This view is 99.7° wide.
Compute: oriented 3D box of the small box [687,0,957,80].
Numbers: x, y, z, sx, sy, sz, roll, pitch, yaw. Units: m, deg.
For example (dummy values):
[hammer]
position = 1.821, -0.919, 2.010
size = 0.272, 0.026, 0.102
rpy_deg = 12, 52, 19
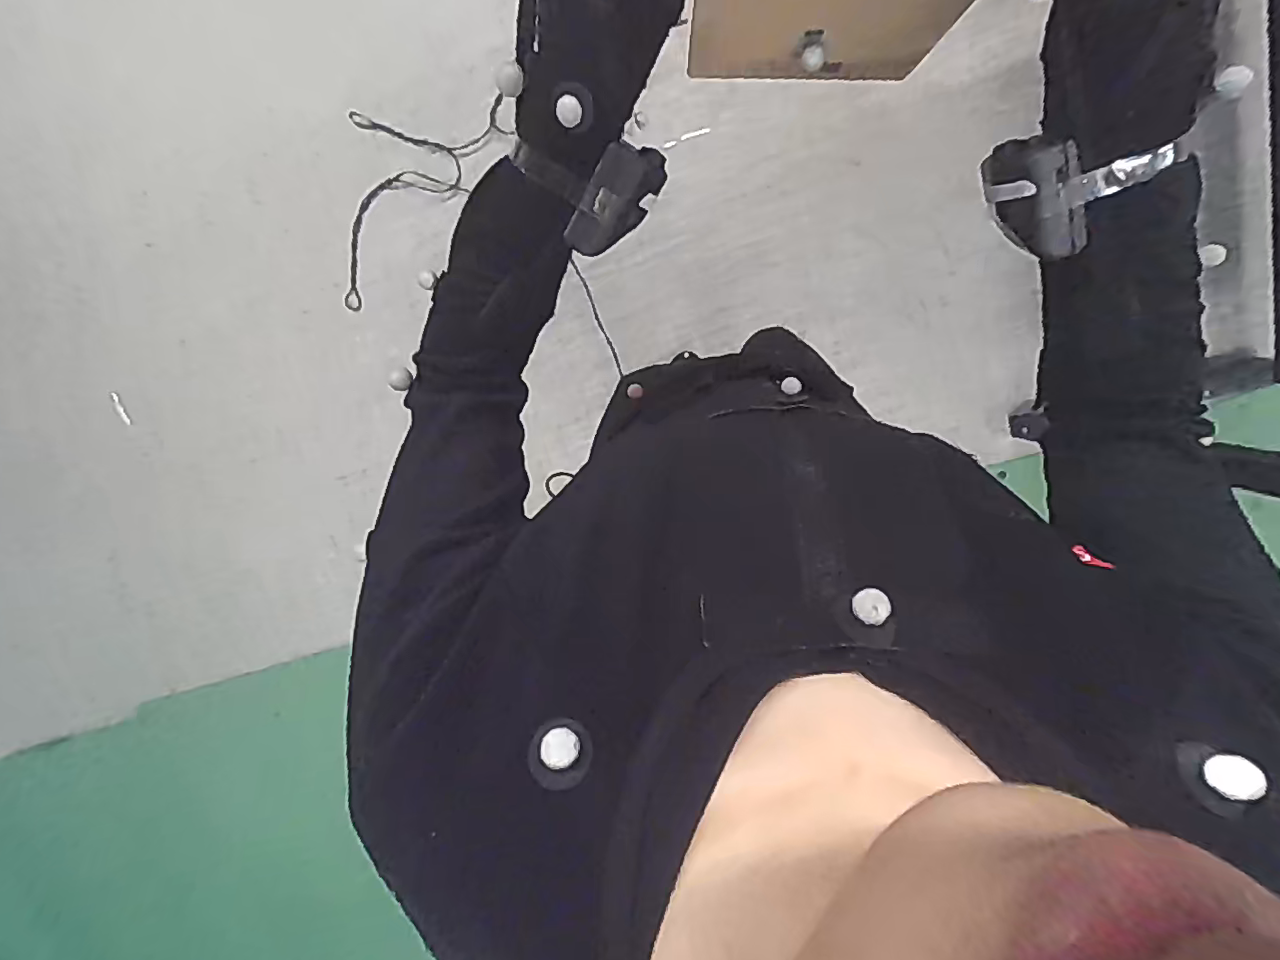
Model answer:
[small box]
position = 0.115, -0.375, 0.314
size = 0.168, 0.176, 0.179
rpy_deg = 2, 103, 3
